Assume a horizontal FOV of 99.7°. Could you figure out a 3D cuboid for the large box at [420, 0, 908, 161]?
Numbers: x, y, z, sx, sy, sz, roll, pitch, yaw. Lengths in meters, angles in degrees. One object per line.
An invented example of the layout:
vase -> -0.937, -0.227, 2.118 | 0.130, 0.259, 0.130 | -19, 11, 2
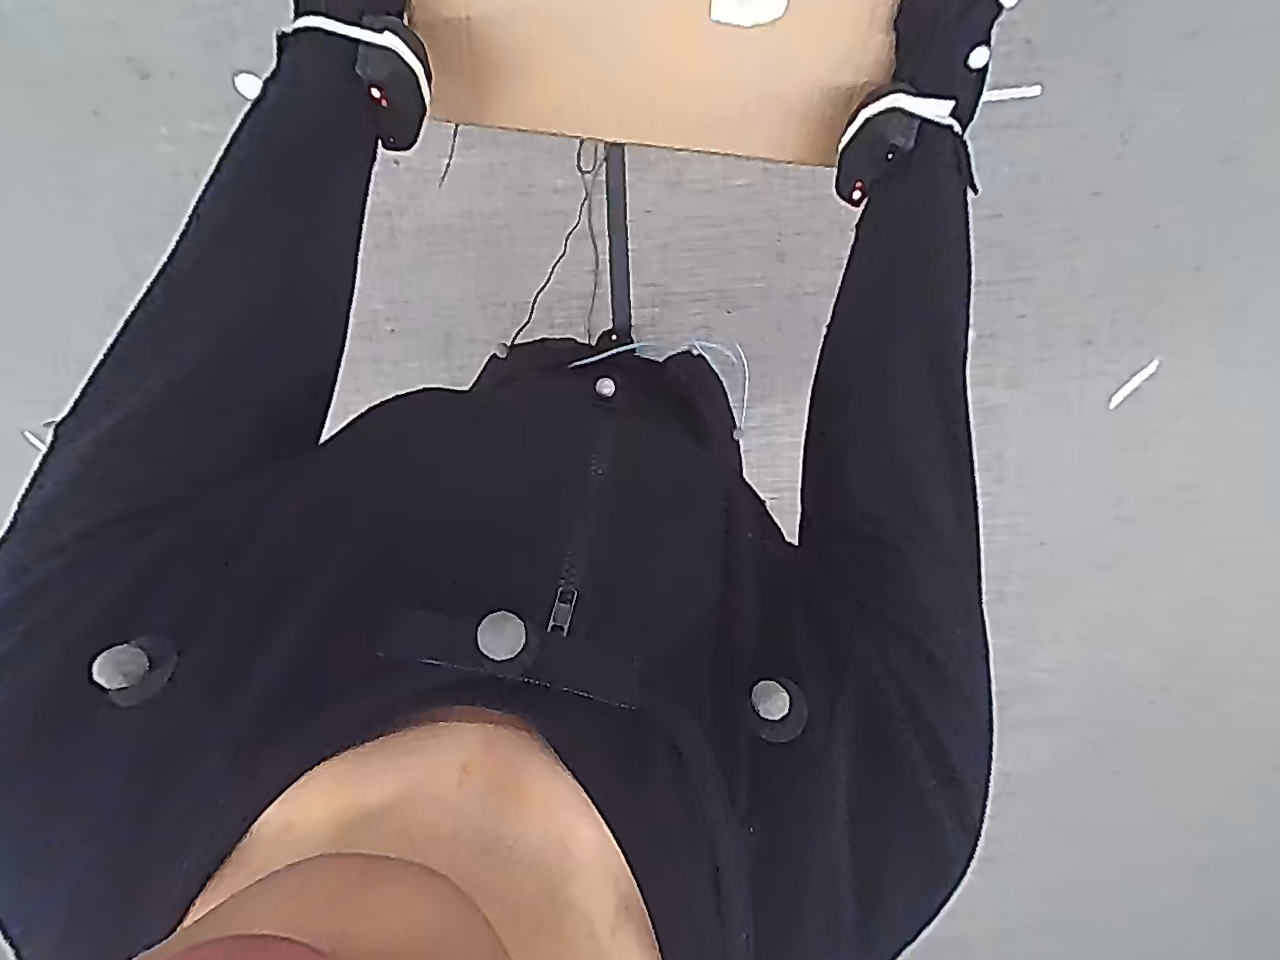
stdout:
large box -> 0.025, -0.515, 0.533 | 0.408, 0.320, 0.320 | 5, 124, -1
